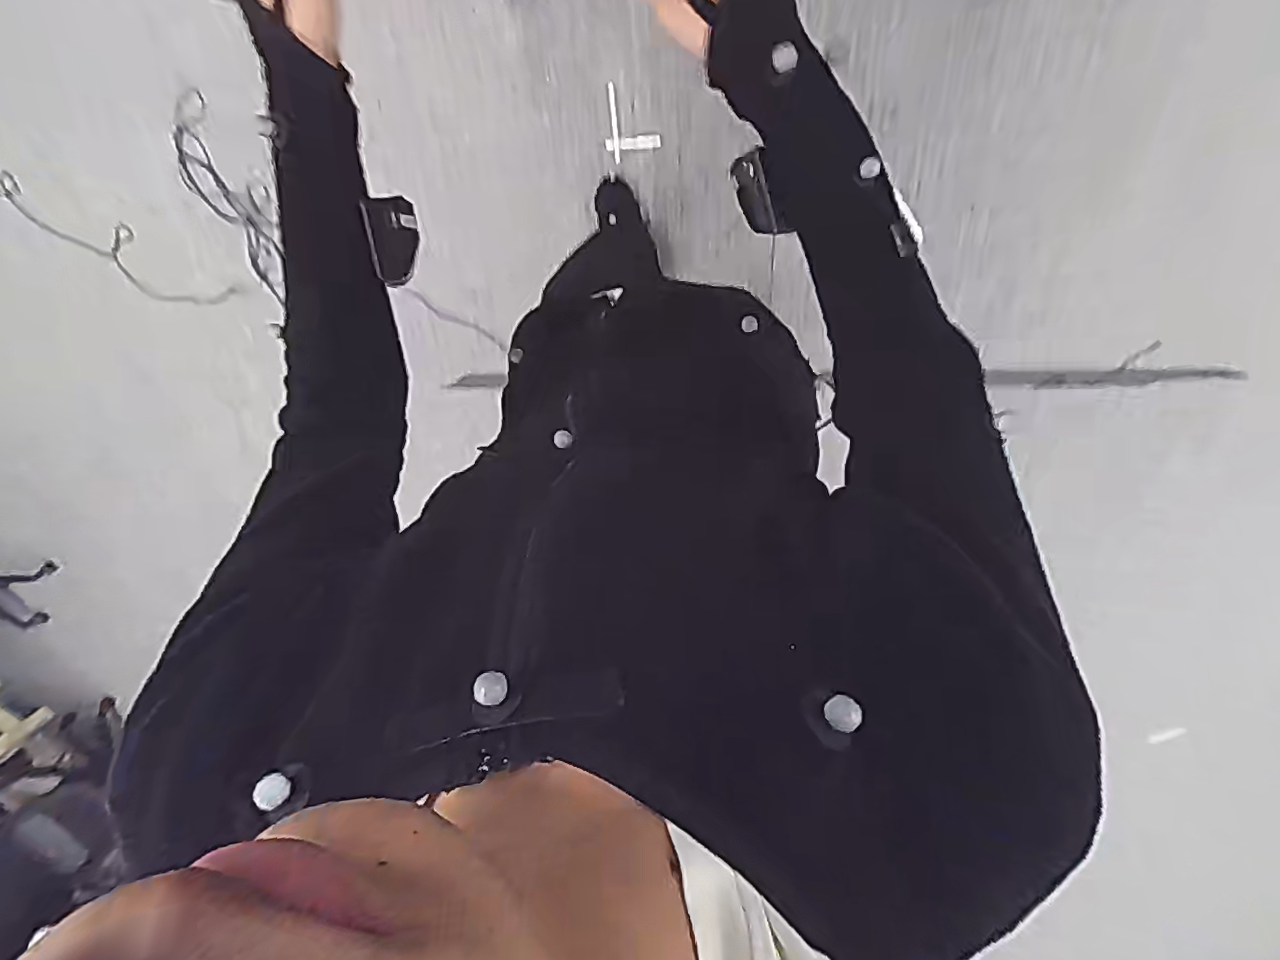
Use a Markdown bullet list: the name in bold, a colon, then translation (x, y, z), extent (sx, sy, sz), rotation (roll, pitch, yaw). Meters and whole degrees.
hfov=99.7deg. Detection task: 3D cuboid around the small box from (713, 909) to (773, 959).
- **small box**: translation (0.295, 1.381, 1.555), extent (0.168, 0.176, 0.179), rotation (-1, 118, 8)
